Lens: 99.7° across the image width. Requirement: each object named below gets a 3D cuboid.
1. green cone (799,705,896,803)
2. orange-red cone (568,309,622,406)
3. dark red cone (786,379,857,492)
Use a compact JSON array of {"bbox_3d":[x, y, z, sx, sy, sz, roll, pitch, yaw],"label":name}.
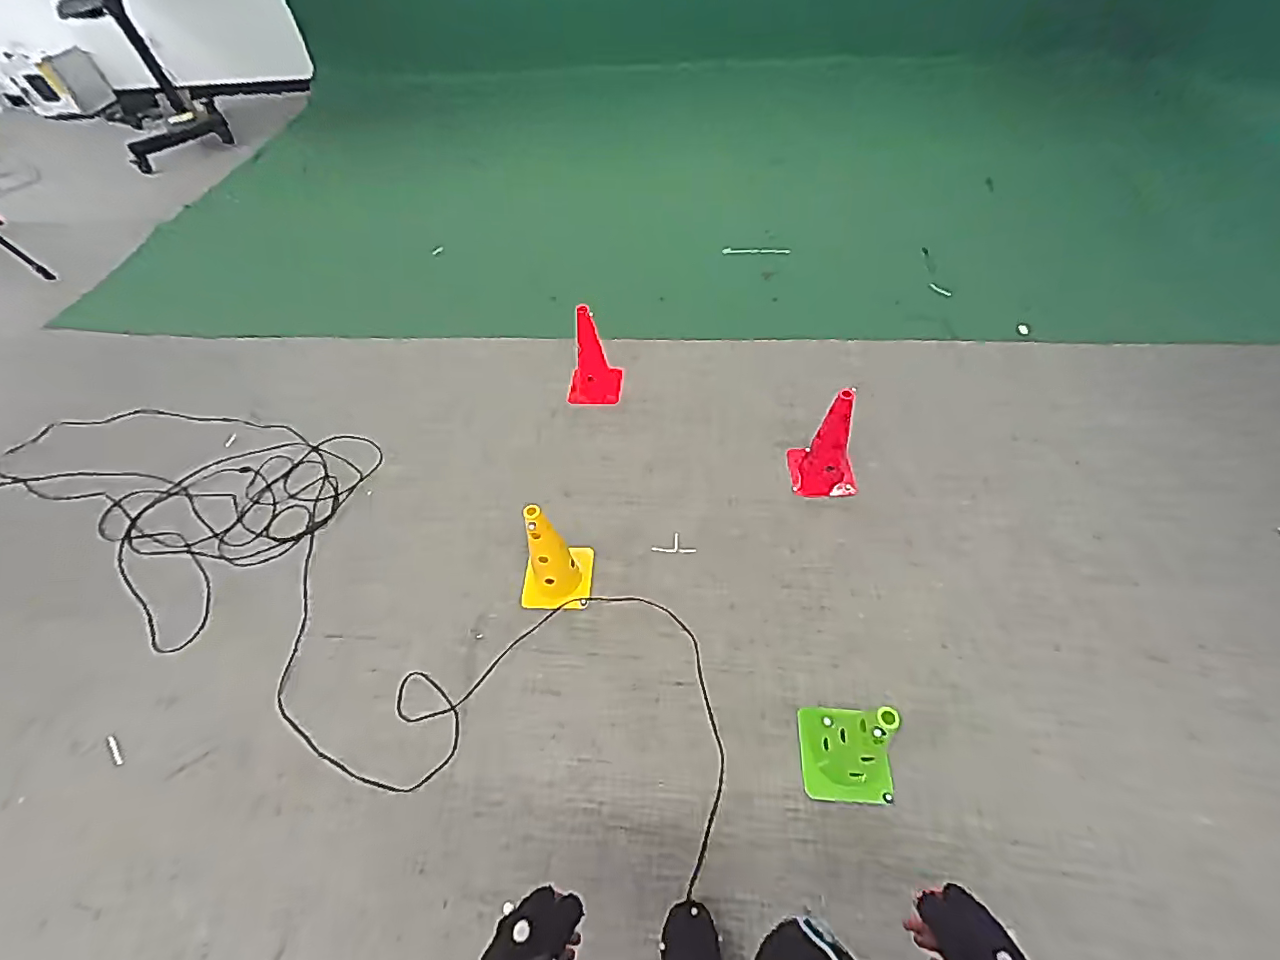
[{"bbox_3d":[0.474,0.544,1.149,0.202,0.368,0.200,0,52,6],"label":"green cone"},{"bbox_3d":[-0.189,-0.460,1.965,0.198,0.360,0.199,1,54,7],"label":"orange-red cone"},{"bbox_3d":[0.577,-0.145,1.631,0.202,0.394,0.201,-3,51,3],"label":"dark red cone"}]
